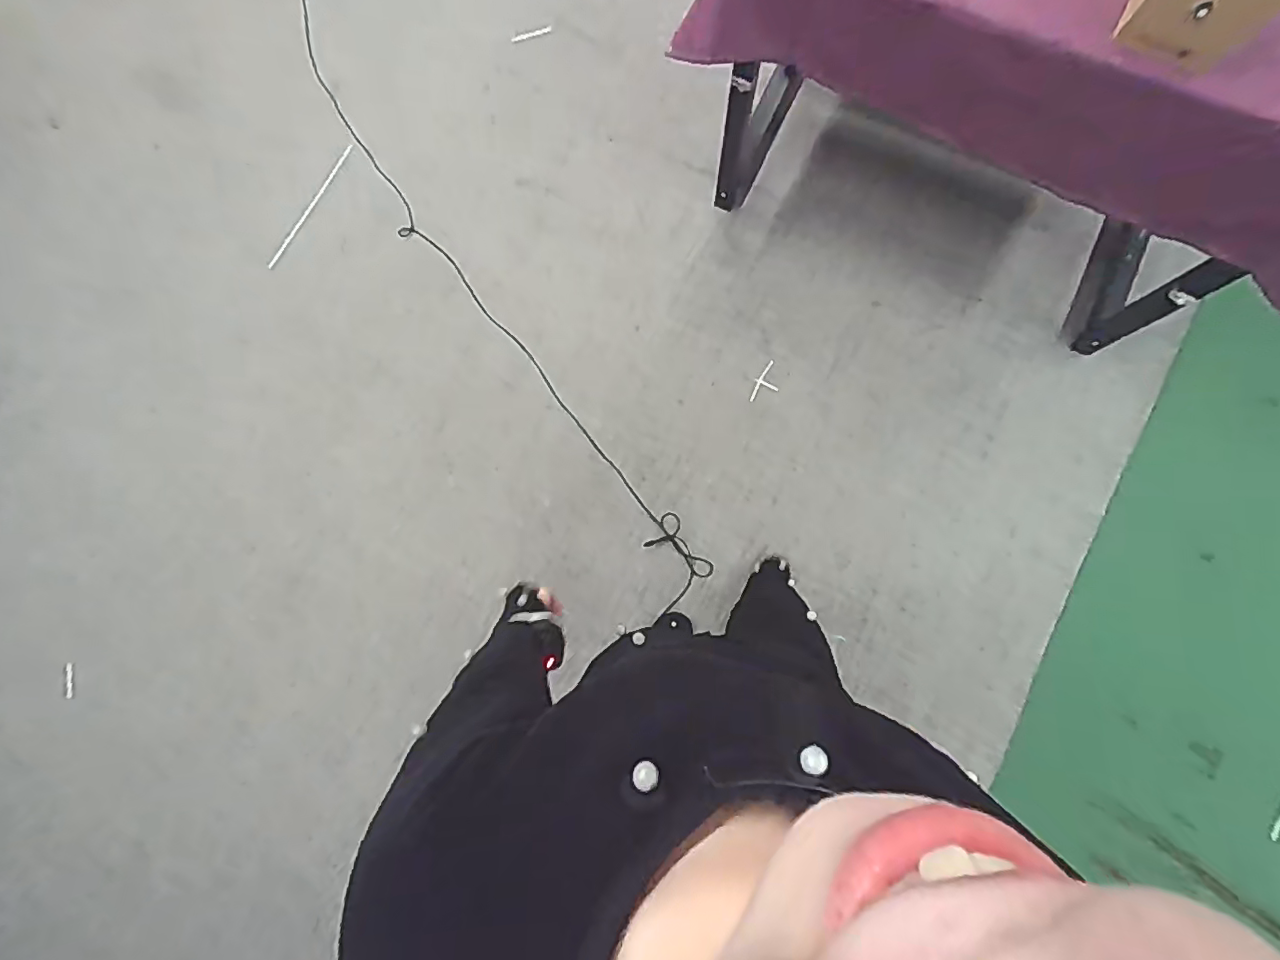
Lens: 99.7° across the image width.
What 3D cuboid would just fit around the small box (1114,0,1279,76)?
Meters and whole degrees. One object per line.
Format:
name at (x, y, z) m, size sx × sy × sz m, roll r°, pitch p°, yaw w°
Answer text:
small box at (0.878, -0.767, 0.814) m, size 0.168 × 0.176 × 0.179 m, roll 28°, pitch 82°, yaw 6°
